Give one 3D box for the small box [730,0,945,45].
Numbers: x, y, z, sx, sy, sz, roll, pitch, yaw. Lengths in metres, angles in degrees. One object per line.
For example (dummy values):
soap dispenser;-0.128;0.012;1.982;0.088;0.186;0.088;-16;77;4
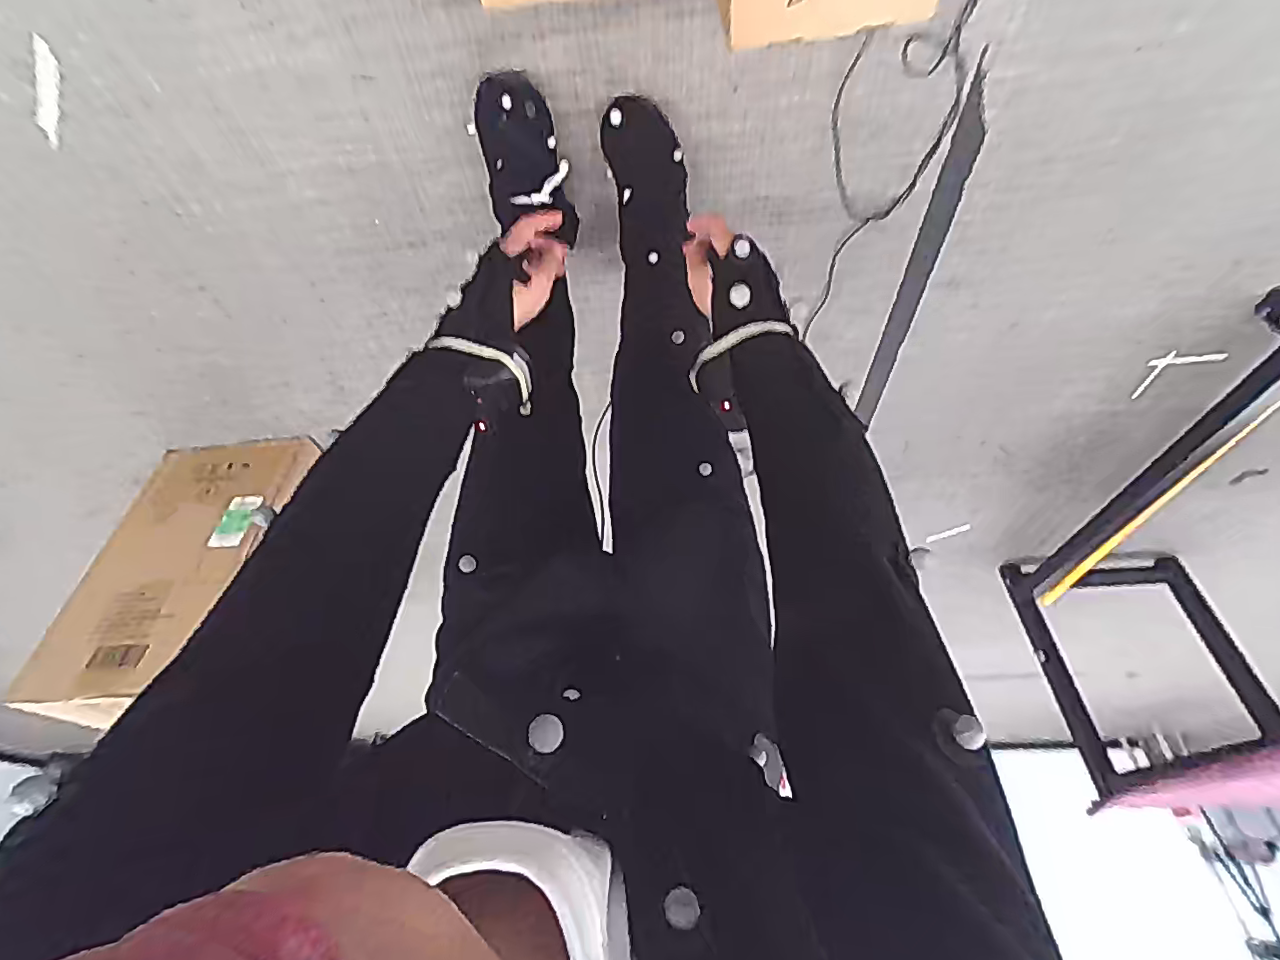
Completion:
small box;0.151;-0.481;0.420;0.168;0.176;0.179;-4;144;6
